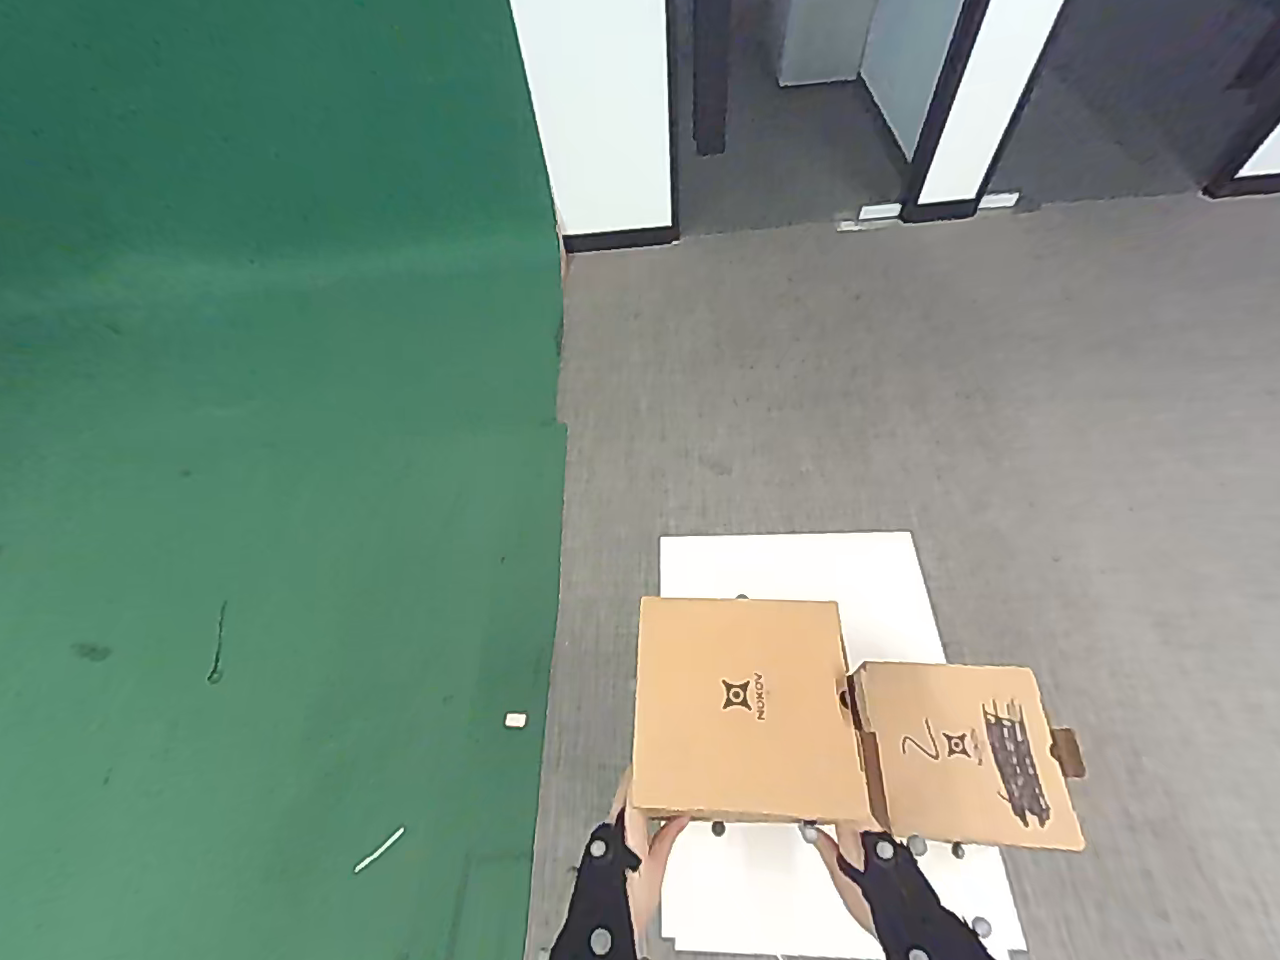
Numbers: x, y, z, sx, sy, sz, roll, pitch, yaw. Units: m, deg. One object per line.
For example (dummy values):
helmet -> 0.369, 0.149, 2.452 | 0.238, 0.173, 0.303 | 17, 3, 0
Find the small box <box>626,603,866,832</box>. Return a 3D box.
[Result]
small box -> 0.086, 0.224, 0.502 | 0.179, 0.176, 0.168 | 1, 57, 4
